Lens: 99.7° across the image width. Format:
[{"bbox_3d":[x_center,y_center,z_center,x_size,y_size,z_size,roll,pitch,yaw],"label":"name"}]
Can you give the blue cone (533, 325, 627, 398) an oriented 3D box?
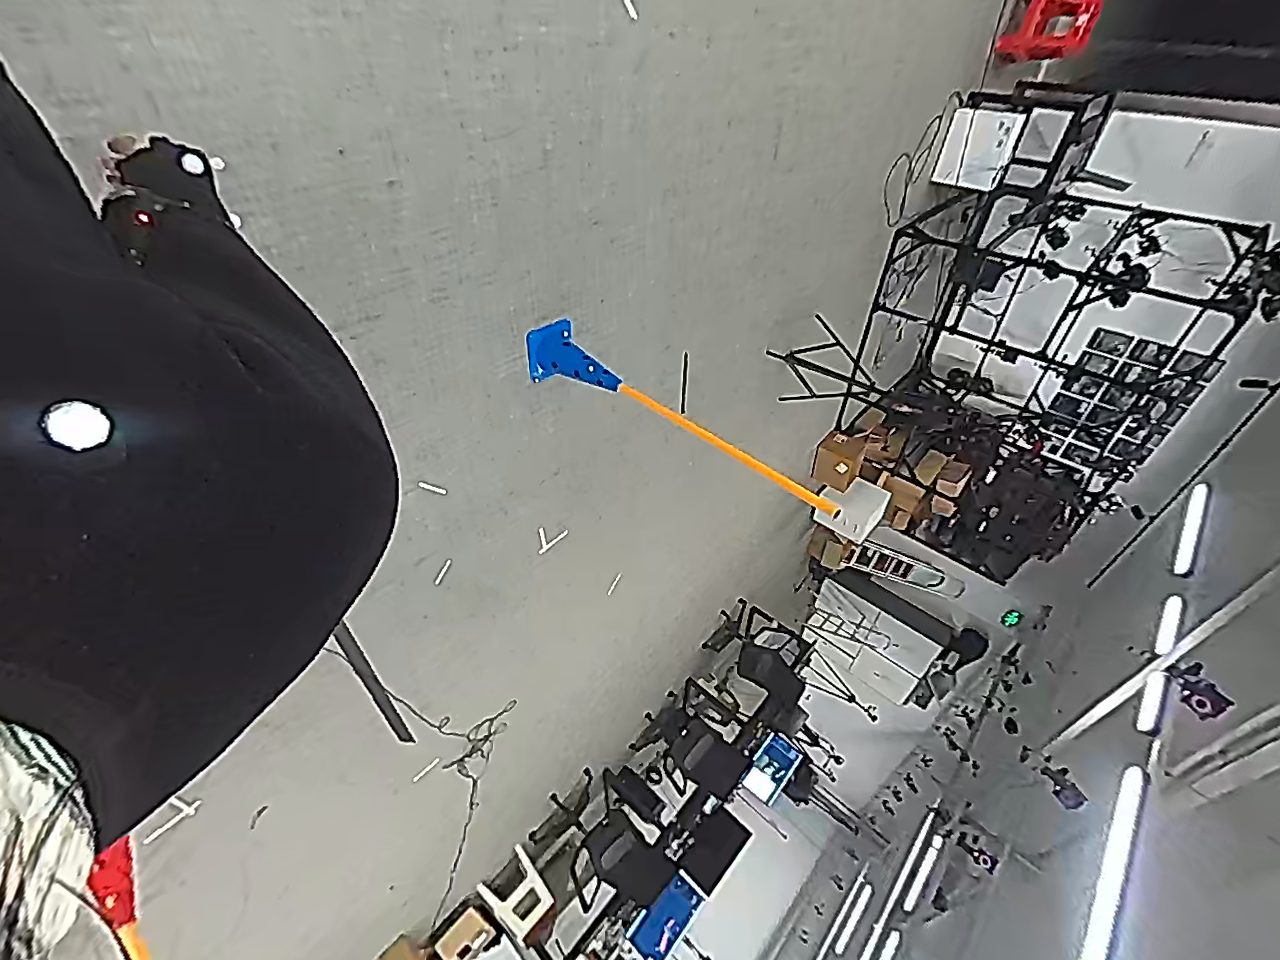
[{"bbox_3d":[-0.190,-0.381,1.873,0.193,0.380,0.192,-33,142,-36],"label":"blue cone"}]
